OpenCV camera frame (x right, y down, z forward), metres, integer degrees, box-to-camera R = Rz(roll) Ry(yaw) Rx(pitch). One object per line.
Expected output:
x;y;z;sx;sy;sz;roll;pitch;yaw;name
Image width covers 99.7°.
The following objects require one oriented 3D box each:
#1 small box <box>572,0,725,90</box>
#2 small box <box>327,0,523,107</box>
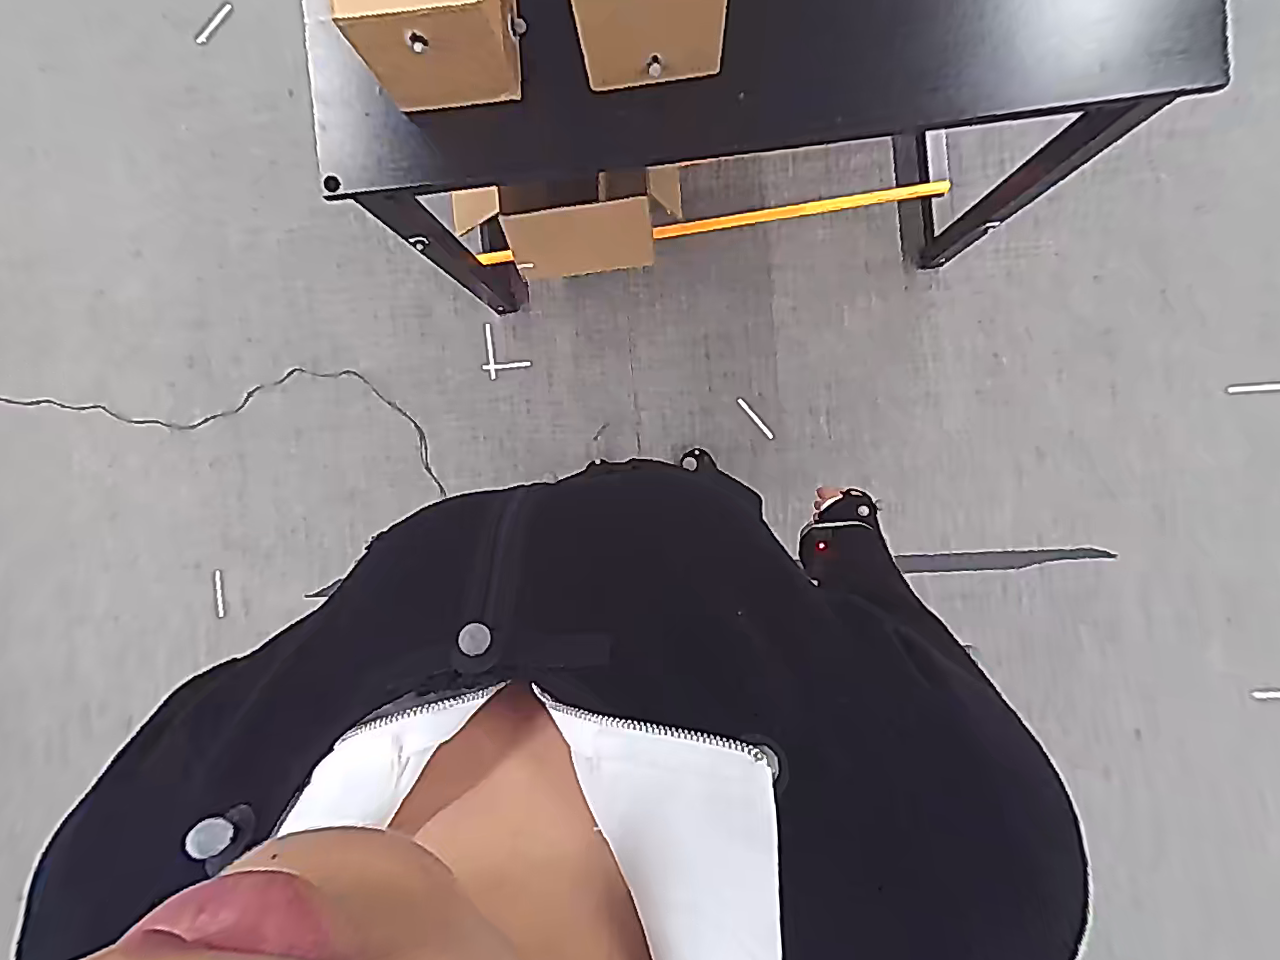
0.006;-0.611;0.646;0.179;0.176;0.168;-6;92;3;small box
-0.256;-0.593;0.662;0.179;0.176;0.168;-4;93;3;small box
